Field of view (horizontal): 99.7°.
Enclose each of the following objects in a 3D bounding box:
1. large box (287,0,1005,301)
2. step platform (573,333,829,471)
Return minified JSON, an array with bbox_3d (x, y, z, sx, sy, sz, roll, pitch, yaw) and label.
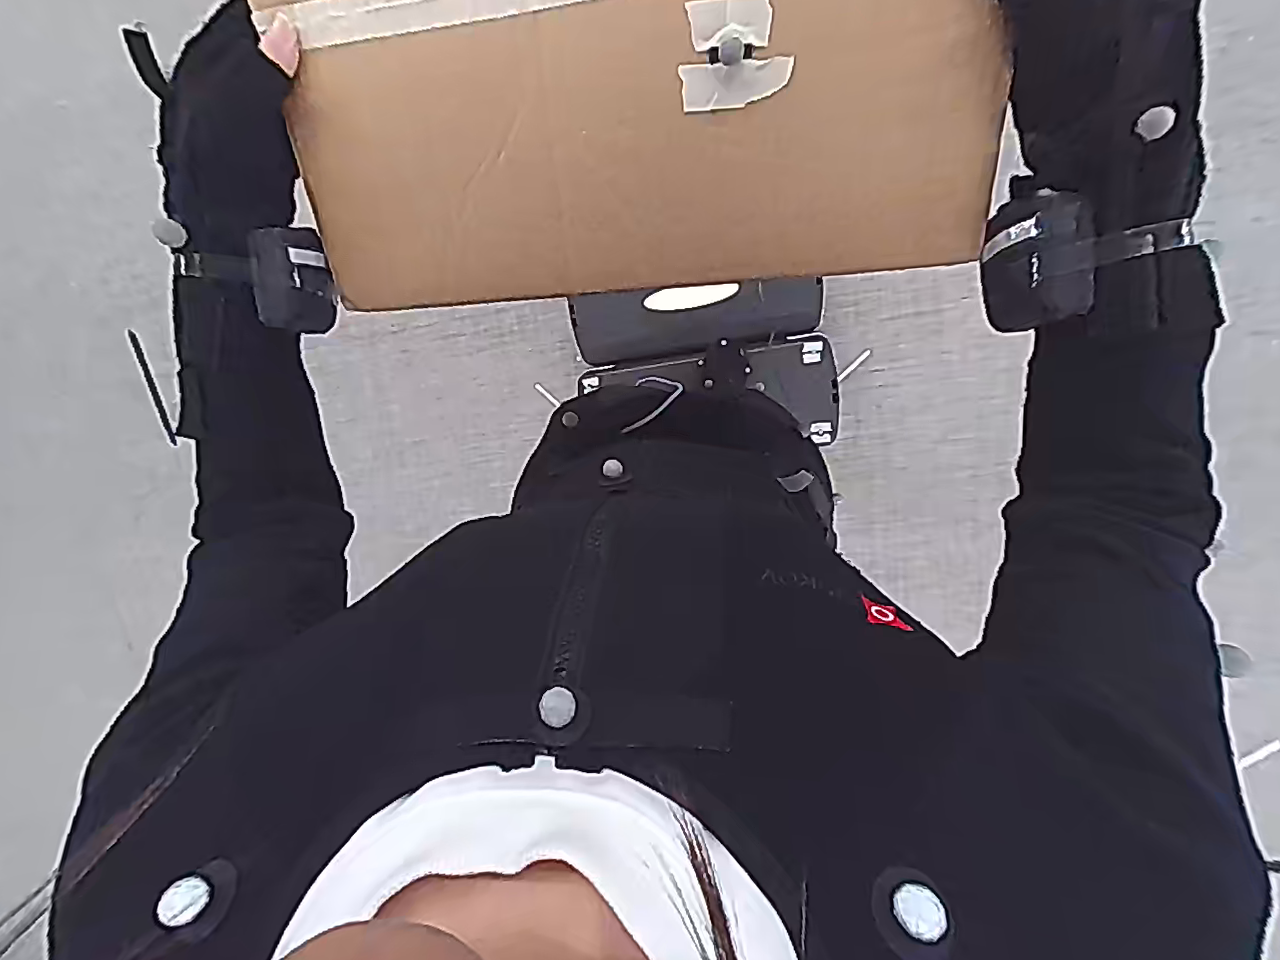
[{"bbox_3d":[0.007,-0.335,0.426,0.408,0.320,0.320,-1,115,10],"label":"large box"},{"bbox_3d":[0.162,-0.207,1.487,0.684,0.204,0.286,-7,104,13],"label":"step platform"}]
